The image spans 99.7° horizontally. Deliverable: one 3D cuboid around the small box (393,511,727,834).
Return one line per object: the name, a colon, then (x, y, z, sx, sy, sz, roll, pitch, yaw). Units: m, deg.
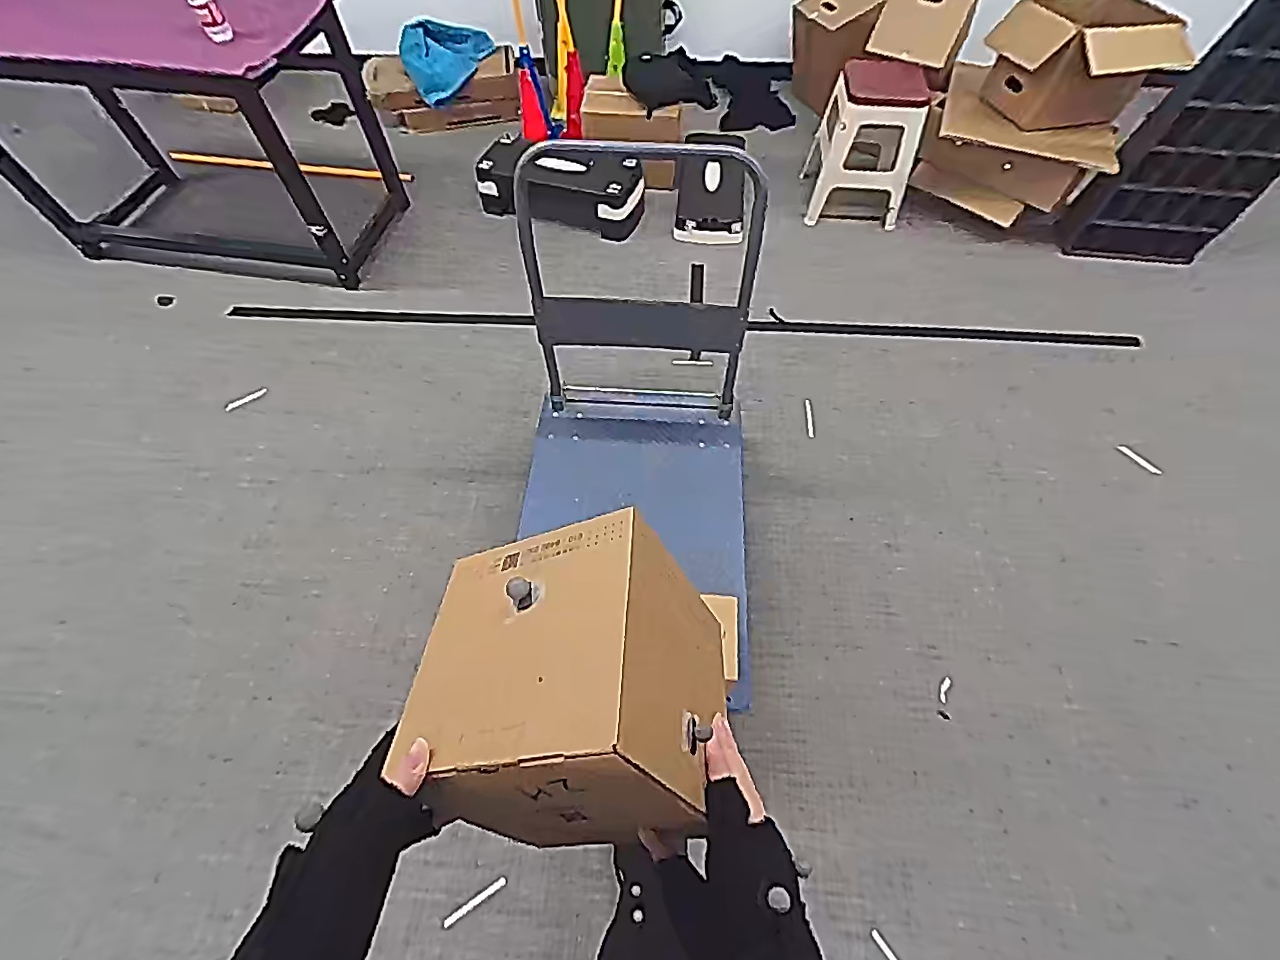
small box: (-0.041, 0.152, 0.416, 0.168, 0.179, 0.176, -18, 40, 20)
